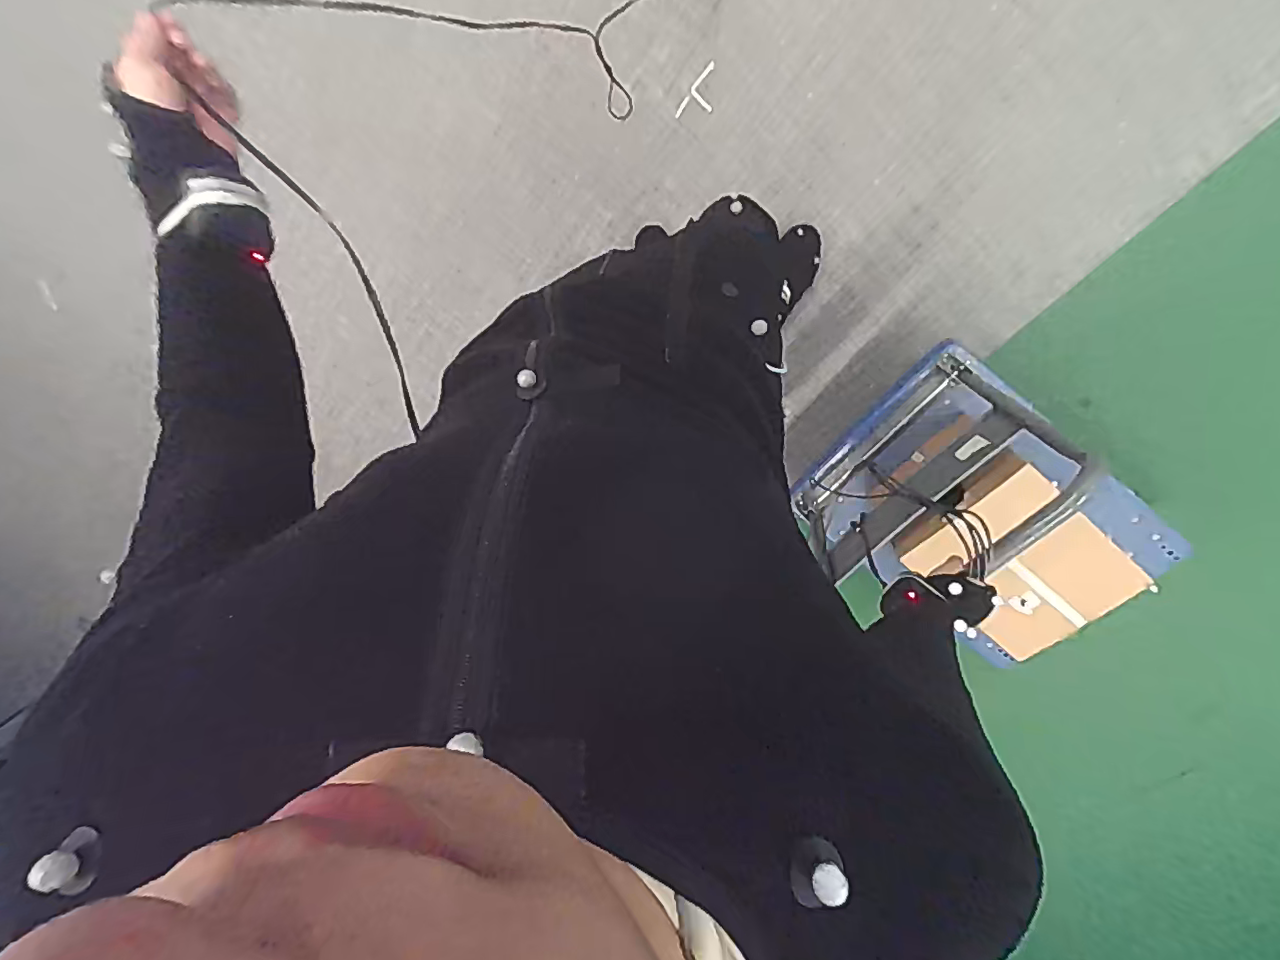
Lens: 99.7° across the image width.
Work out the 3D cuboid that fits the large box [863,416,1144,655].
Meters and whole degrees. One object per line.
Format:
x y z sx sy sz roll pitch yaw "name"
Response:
0.812 0.119 1.273 0.408 0.320 0.320 38 116 -11 "large box"
